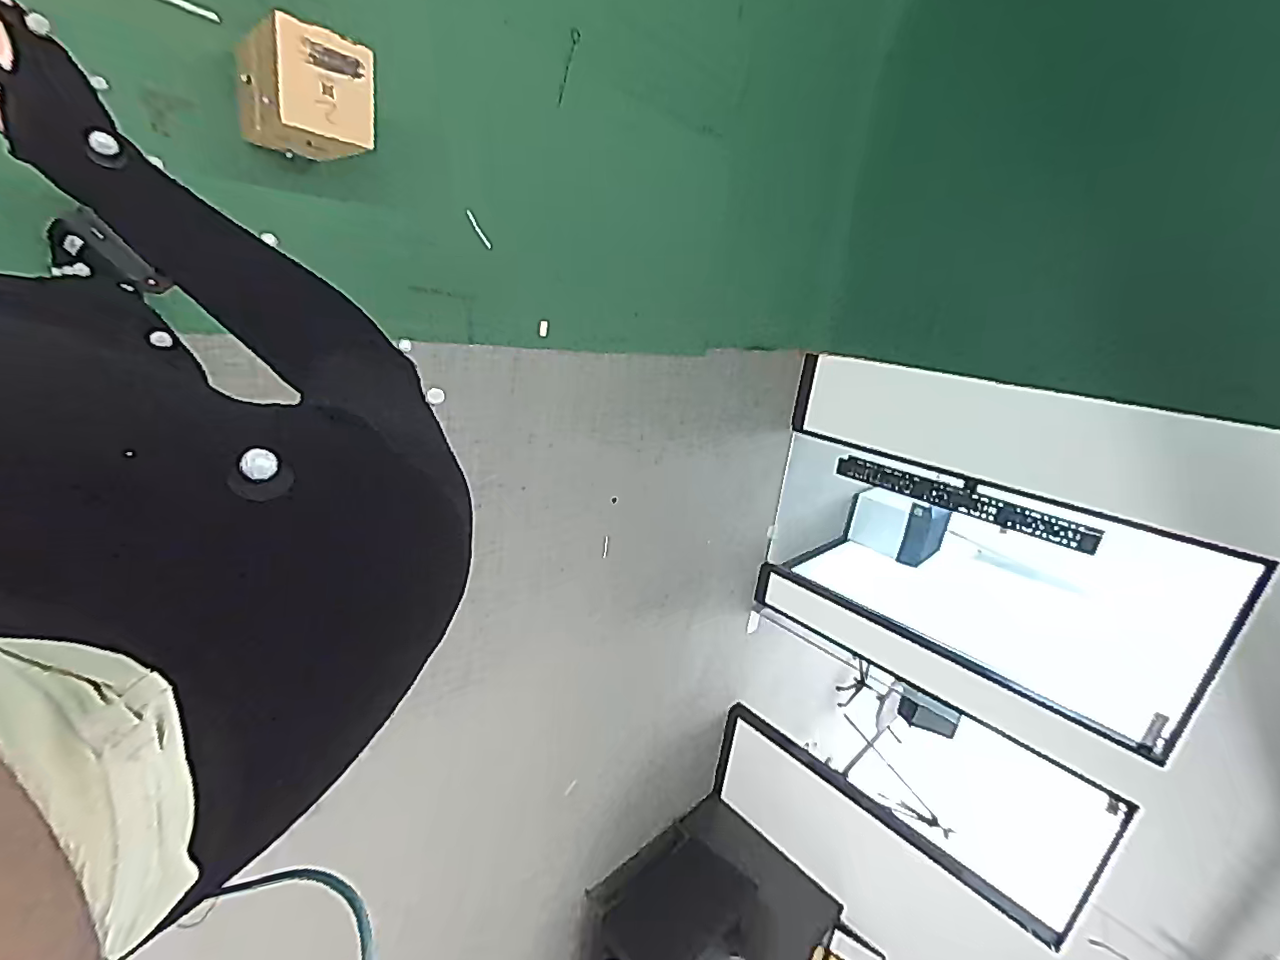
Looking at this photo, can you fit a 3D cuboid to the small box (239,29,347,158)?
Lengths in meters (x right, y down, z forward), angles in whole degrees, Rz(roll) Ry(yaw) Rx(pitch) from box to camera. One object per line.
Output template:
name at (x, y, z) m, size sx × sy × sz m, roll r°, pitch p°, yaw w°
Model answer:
small box at (-0.758, -0.828, 1.181) m, size 0.168 × 0.176 × 0.179 m, roll -8°, pitch 114°, yaw -44°
